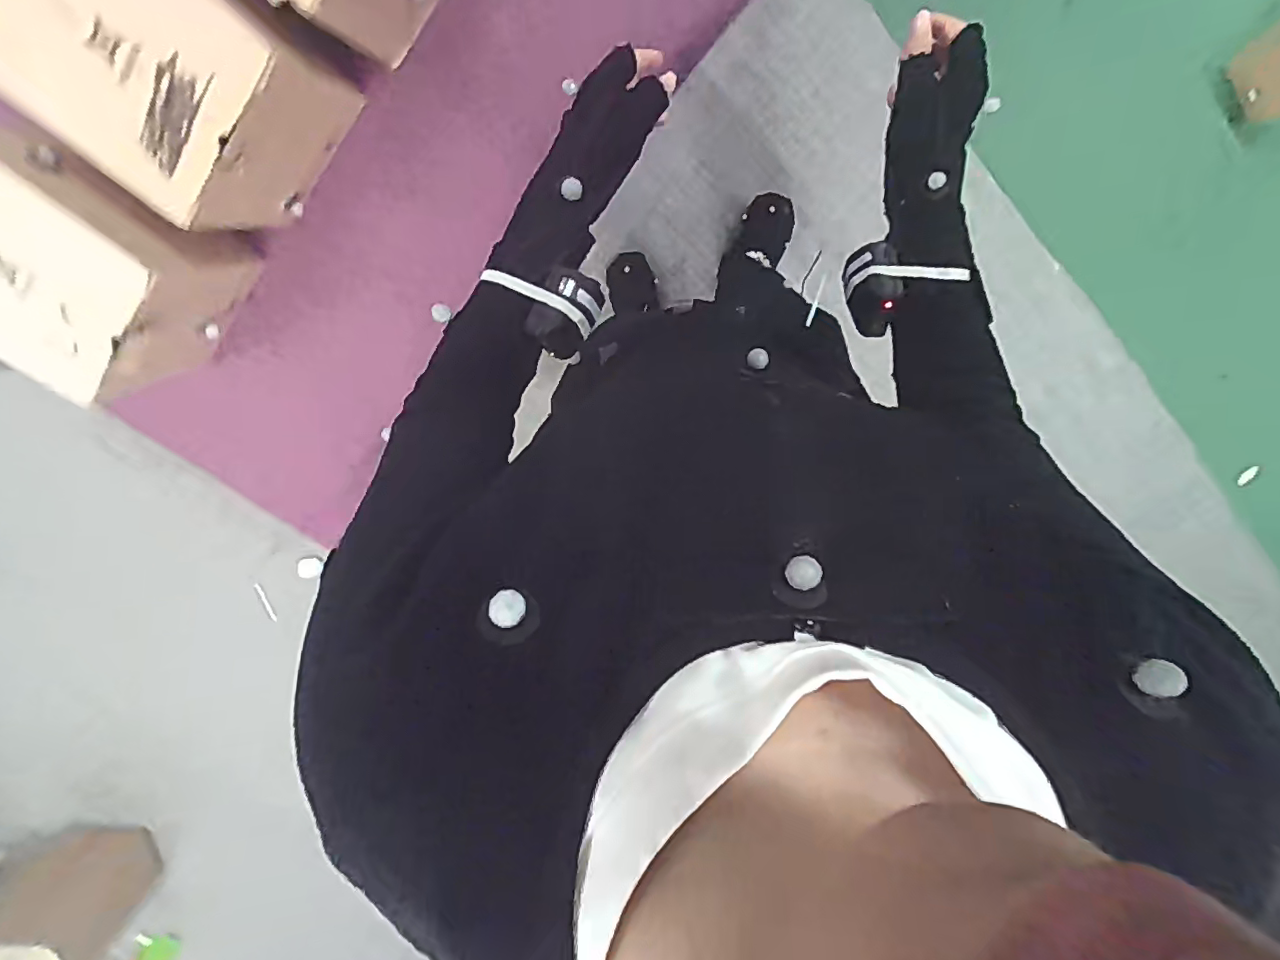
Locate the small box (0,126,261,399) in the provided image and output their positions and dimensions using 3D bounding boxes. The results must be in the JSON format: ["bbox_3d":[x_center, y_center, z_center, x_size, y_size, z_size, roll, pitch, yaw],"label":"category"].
[{"bbox_3d":[-0.543,-0.215,0.544,0.179,0.176,0.168,39,109,-19],"label":"small box"}]
